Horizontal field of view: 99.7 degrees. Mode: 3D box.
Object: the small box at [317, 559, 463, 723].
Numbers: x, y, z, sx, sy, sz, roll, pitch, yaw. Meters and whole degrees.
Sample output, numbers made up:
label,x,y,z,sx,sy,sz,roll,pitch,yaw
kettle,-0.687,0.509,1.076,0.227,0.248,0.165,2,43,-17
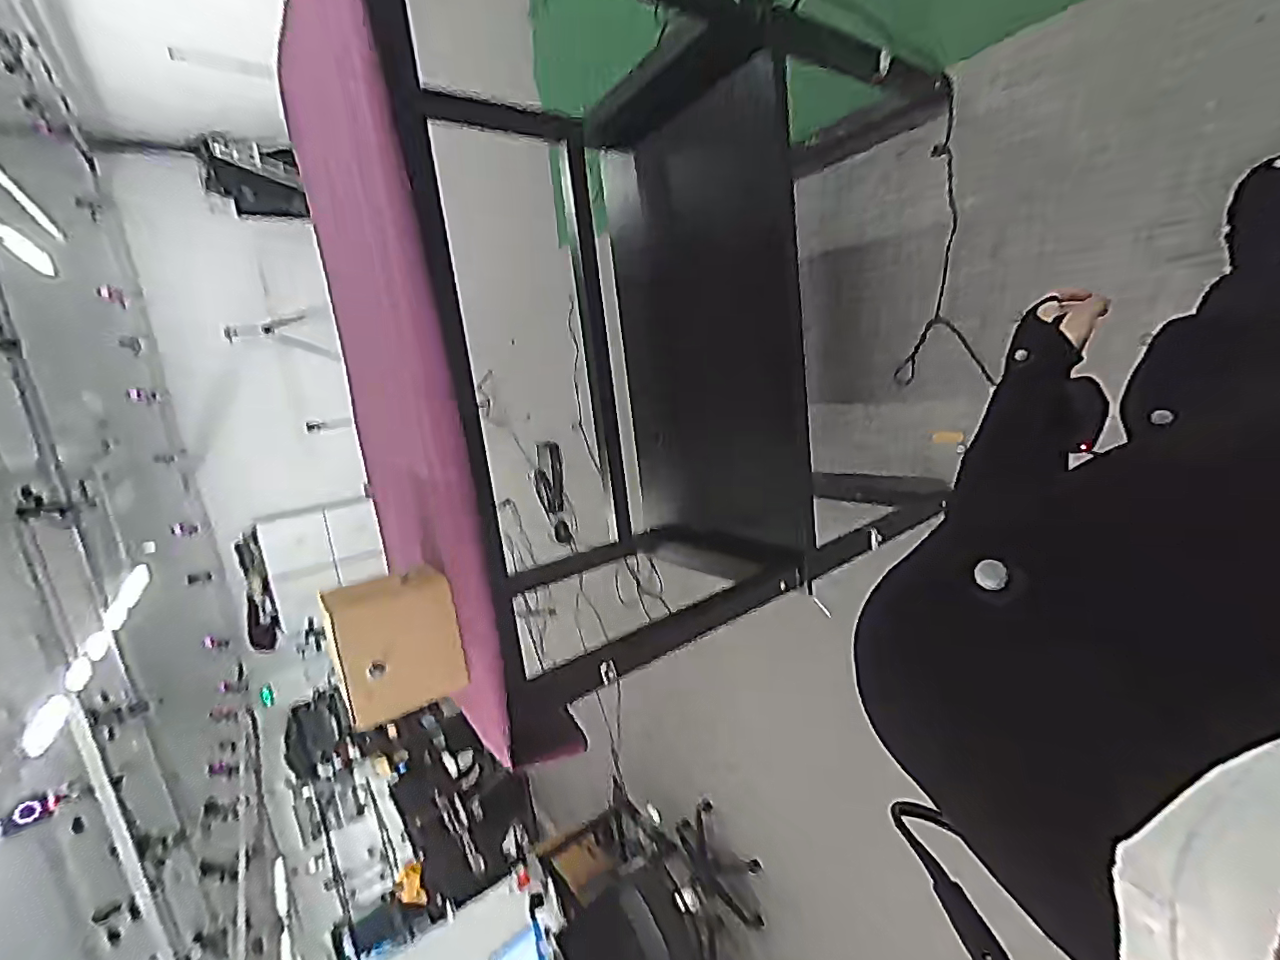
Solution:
label,x,y,z,sx,sy,sz,roll,pitch,yaw
small box,-0.393,0.240,0.855,0.168,0.176,0.179,2,103,54
